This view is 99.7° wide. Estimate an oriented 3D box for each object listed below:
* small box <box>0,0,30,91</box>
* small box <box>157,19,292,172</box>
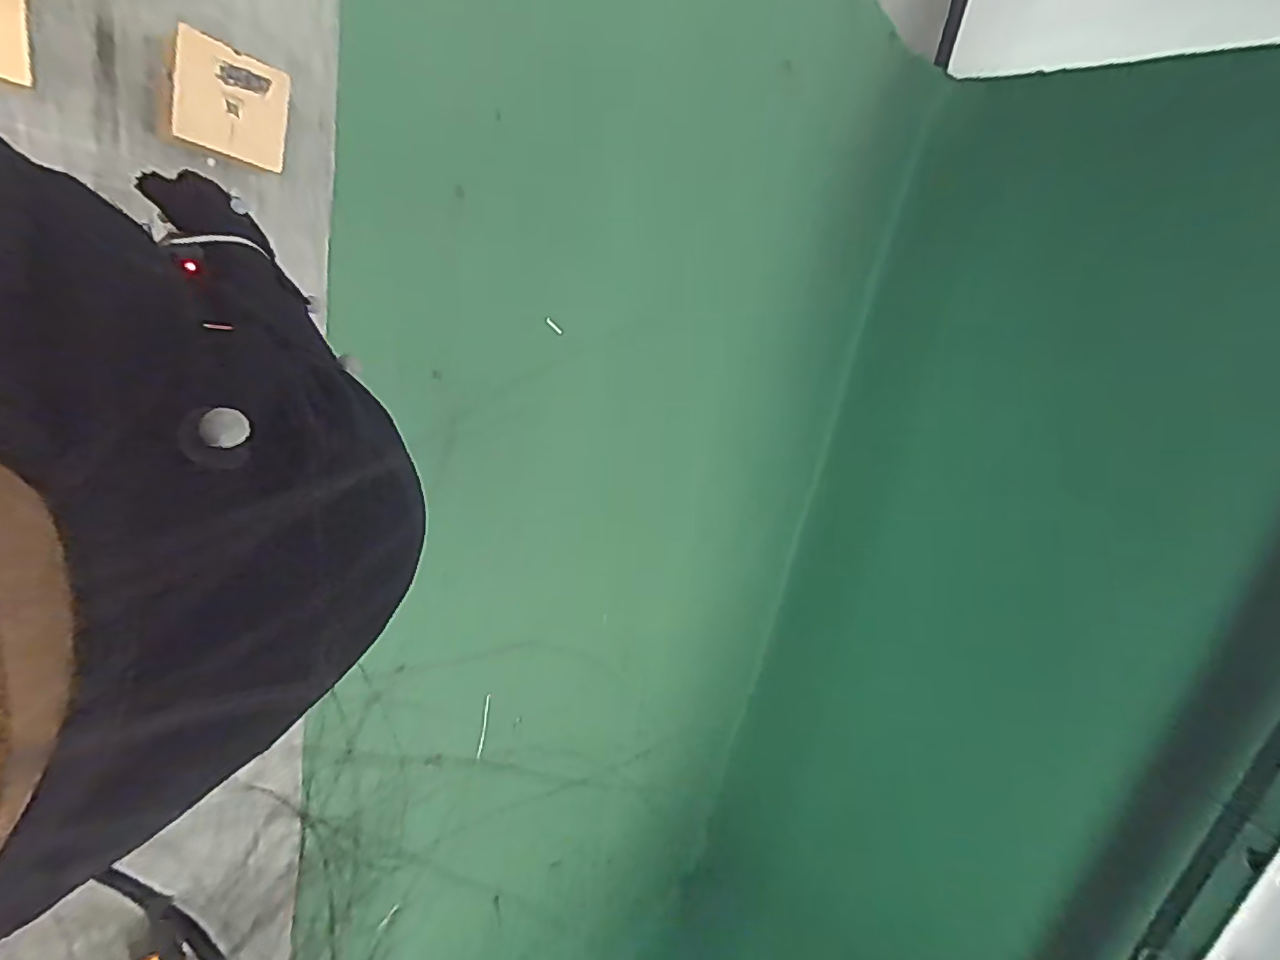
[{"bbox_3d":[-0.996,-0.688,0.767,0.168,0.176,0.179,-6,114,-48],"label":"small box"},{"bbox_3d":[-0.779,-0.701,1.011,0.168,0.176,0.179,-1,110,-49],"label":"small box"}]
